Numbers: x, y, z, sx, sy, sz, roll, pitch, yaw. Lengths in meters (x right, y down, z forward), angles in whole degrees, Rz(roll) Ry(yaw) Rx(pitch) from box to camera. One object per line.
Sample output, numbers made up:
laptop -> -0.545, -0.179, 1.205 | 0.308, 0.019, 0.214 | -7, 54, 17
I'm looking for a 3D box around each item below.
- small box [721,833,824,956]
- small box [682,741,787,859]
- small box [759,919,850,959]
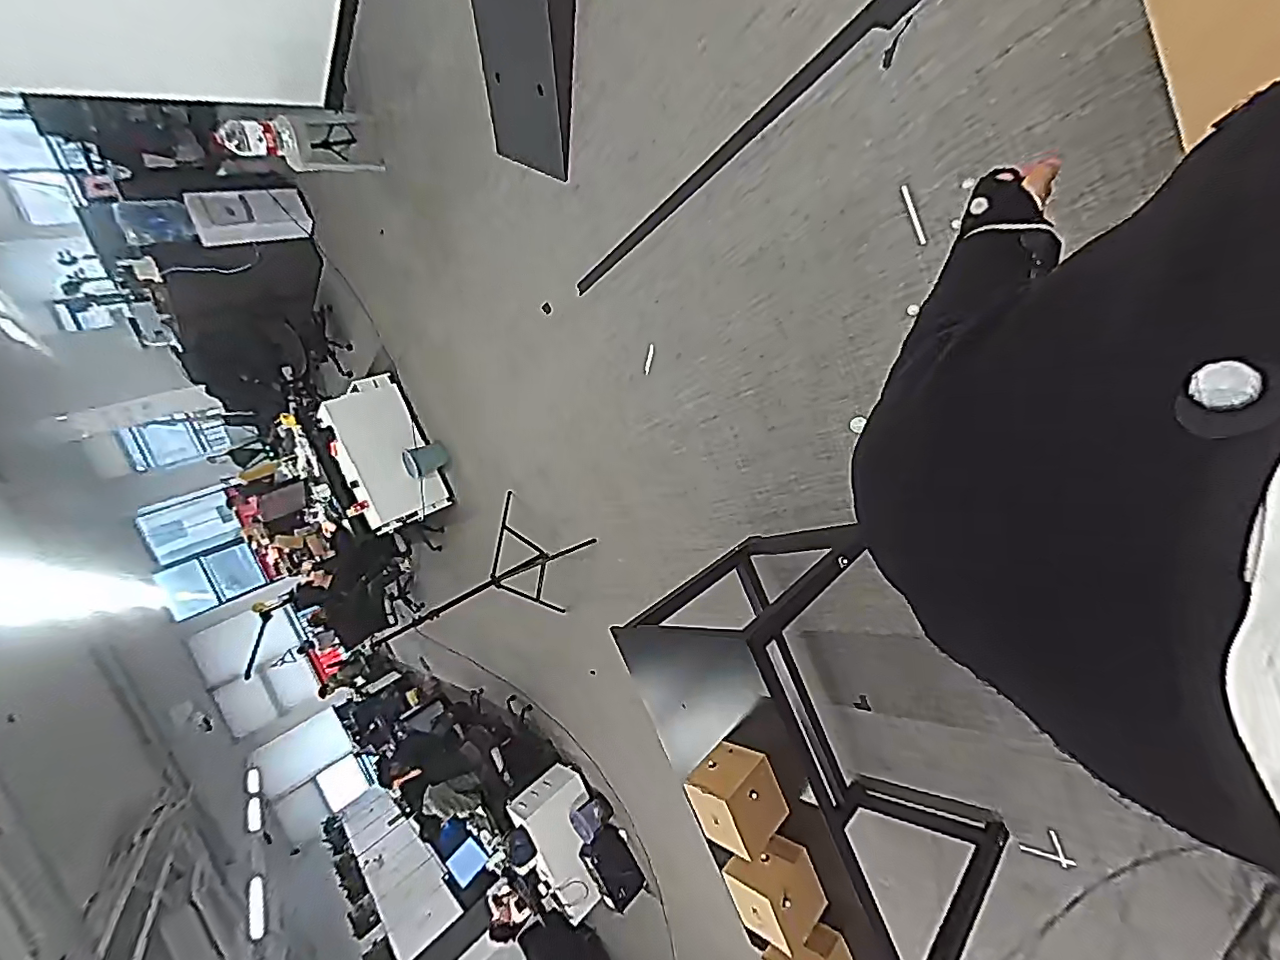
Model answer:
small box -> 0.350, 1.065, 1.420 | 0.168, 0.176, 0.179 | -14, 100, 54
small box -> 0.246, 0.812, 1.394 | 0.168, 0.176, 0.179 | -15, 100, 55
small box -> 0.458, 1.314, 1.443 | 0.168, 0.176, 0.179 | -20, 96, 54
